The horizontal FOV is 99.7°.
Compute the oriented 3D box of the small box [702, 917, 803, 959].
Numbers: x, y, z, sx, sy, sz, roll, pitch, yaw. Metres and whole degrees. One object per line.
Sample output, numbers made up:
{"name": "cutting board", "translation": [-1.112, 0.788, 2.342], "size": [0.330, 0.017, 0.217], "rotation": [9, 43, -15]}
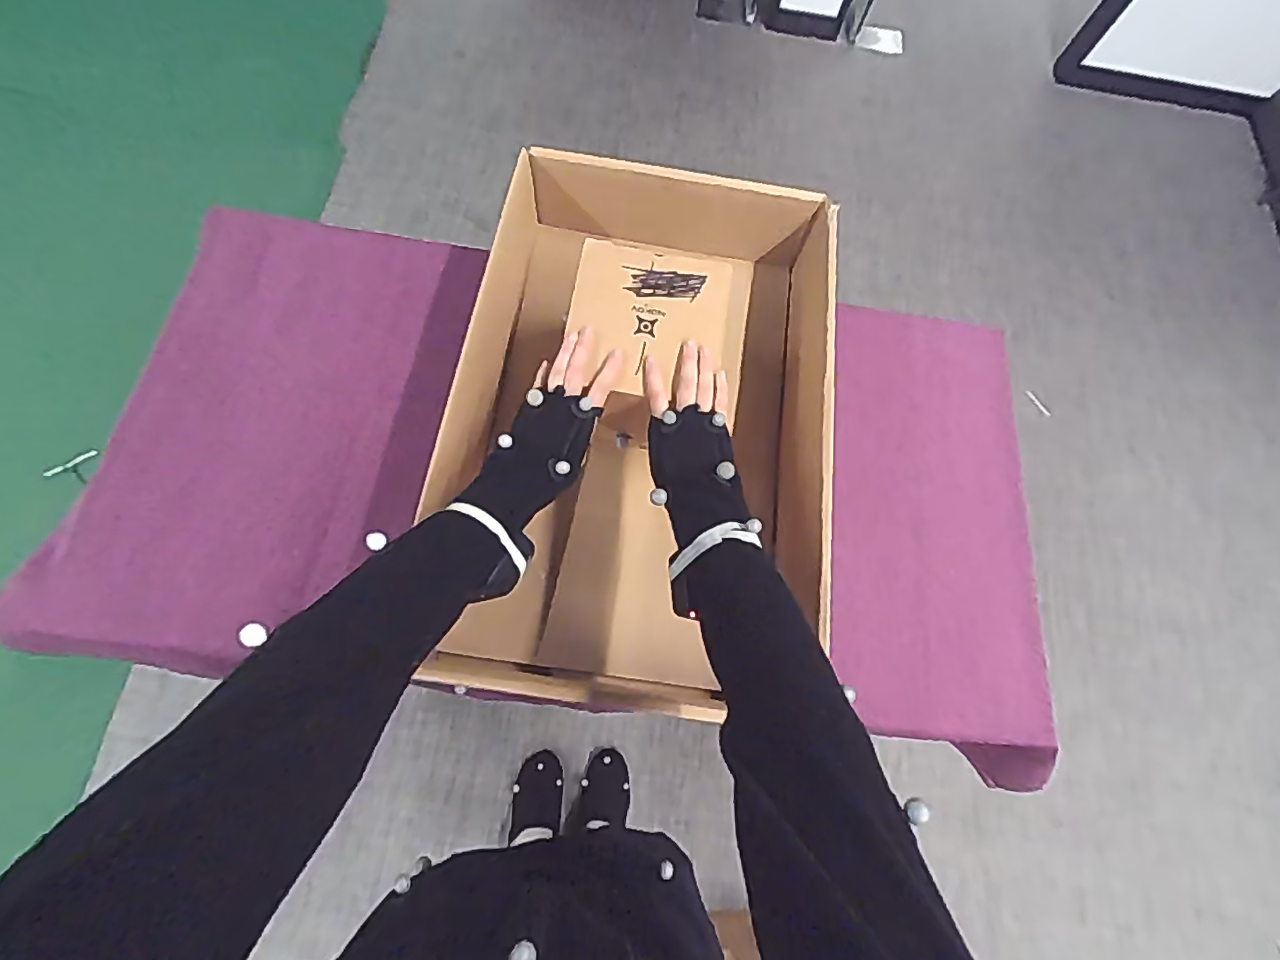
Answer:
{"name": "small box", "translation": [0.223, 1.020, 1.097], "size": [0.179, 0.176, 0.168], "rotation": [3, 71, -5]}

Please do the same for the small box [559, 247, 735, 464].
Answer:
{"name": "small box", "translation": [0.005, -0.136, 0.641], "size": [0.168, 0.176, 0.179], "rotation": [9, 74, -1]}
